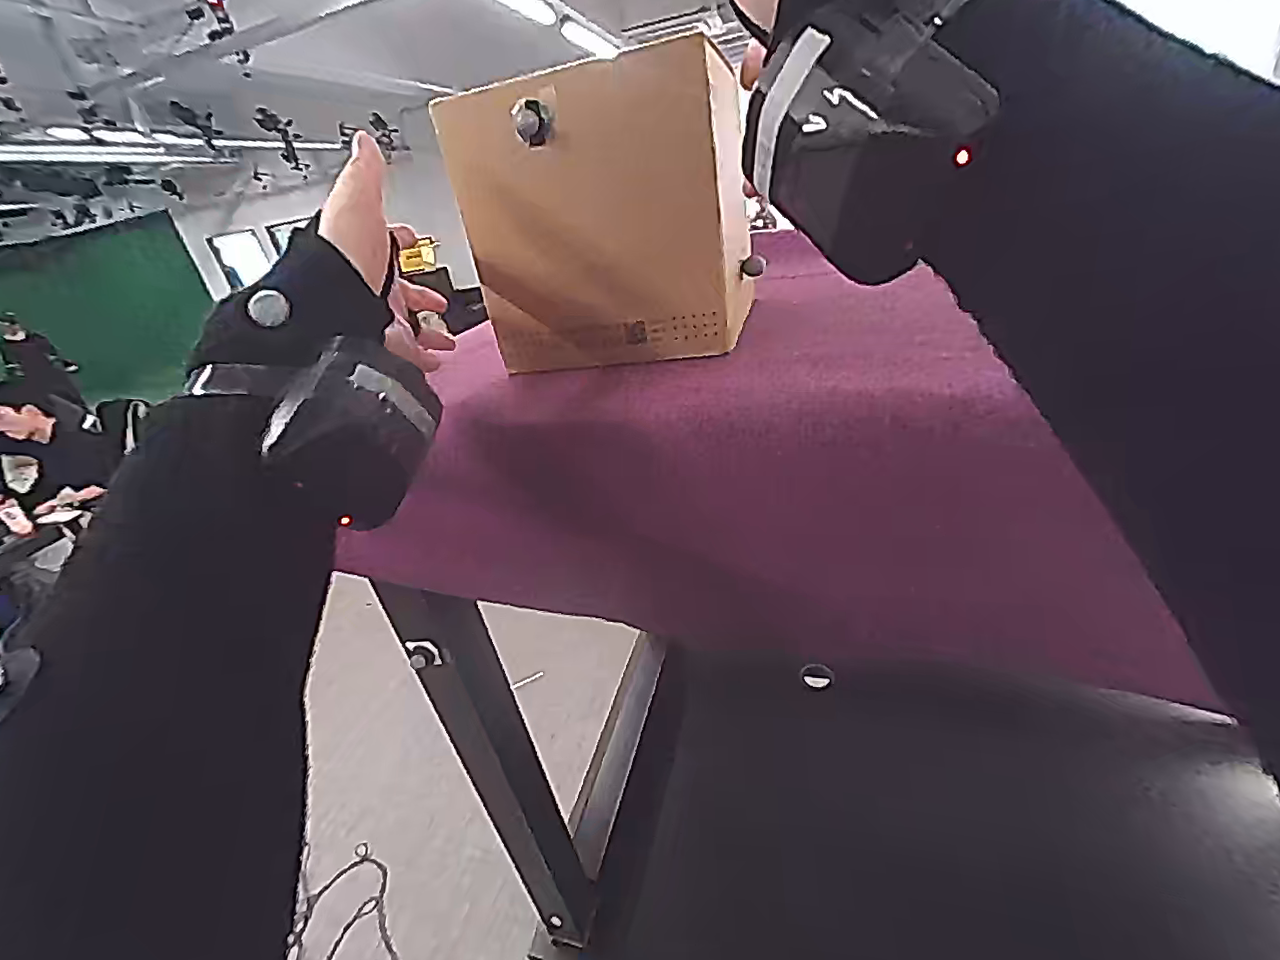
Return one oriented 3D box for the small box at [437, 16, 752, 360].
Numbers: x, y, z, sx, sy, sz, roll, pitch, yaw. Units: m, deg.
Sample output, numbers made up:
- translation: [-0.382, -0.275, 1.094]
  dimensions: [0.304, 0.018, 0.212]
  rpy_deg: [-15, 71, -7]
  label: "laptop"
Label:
- translation: [-0.010, -0.195, 0.398]
  dimensions: [0.168, 0.176, 0.179]
  rpy_deg: [-2, 28, 18]
  label: "small box"
